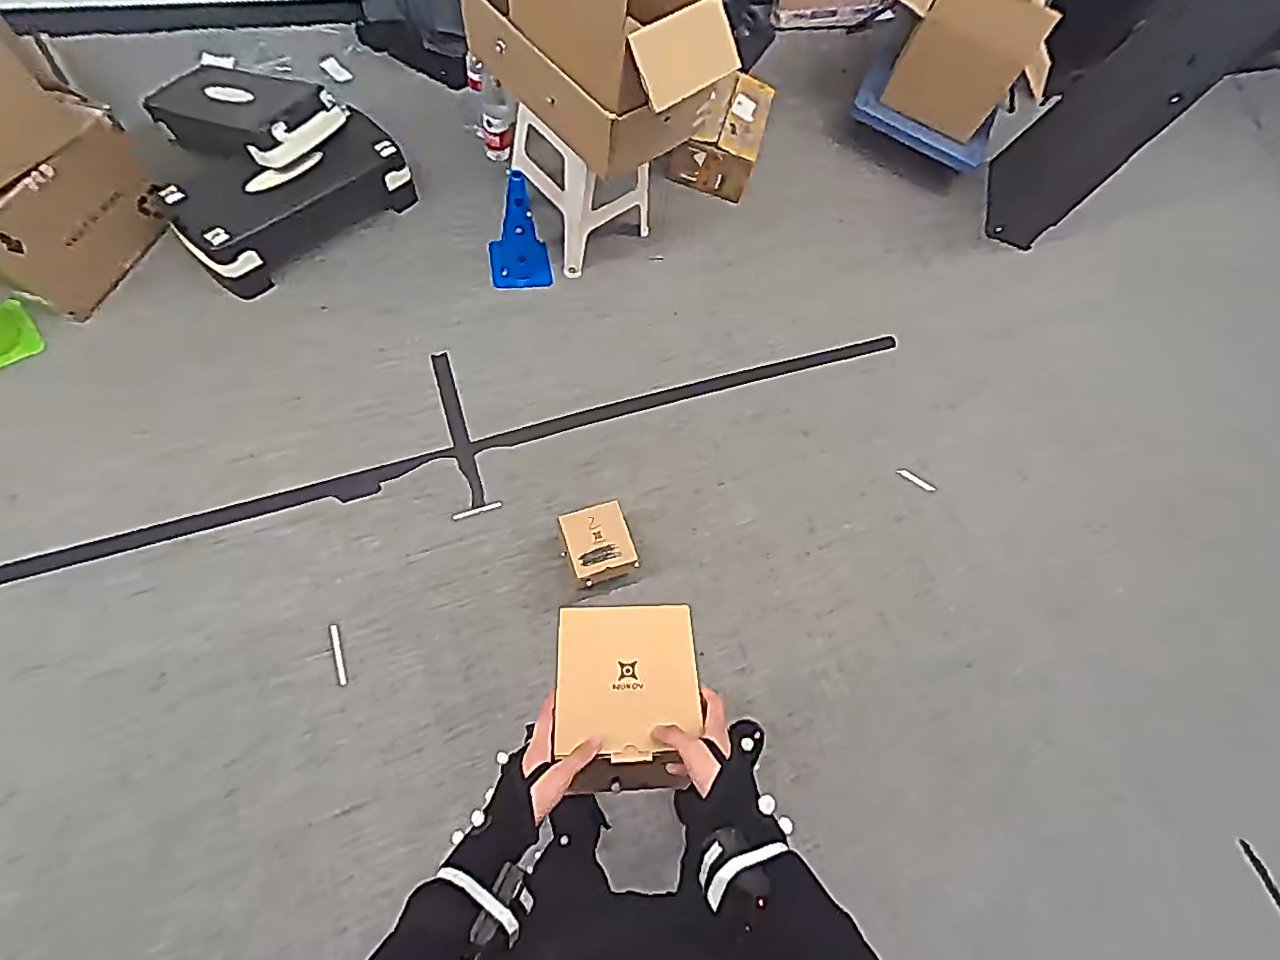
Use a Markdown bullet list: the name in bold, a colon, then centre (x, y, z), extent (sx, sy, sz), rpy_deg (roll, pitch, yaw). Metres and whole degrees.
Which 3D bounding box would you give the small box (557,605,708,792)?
- **small box**: centre (-0.018, 0.278, 0.688), extent (0.168, 0.176, 0.179), rpy_deg (-1, 50, -5)
